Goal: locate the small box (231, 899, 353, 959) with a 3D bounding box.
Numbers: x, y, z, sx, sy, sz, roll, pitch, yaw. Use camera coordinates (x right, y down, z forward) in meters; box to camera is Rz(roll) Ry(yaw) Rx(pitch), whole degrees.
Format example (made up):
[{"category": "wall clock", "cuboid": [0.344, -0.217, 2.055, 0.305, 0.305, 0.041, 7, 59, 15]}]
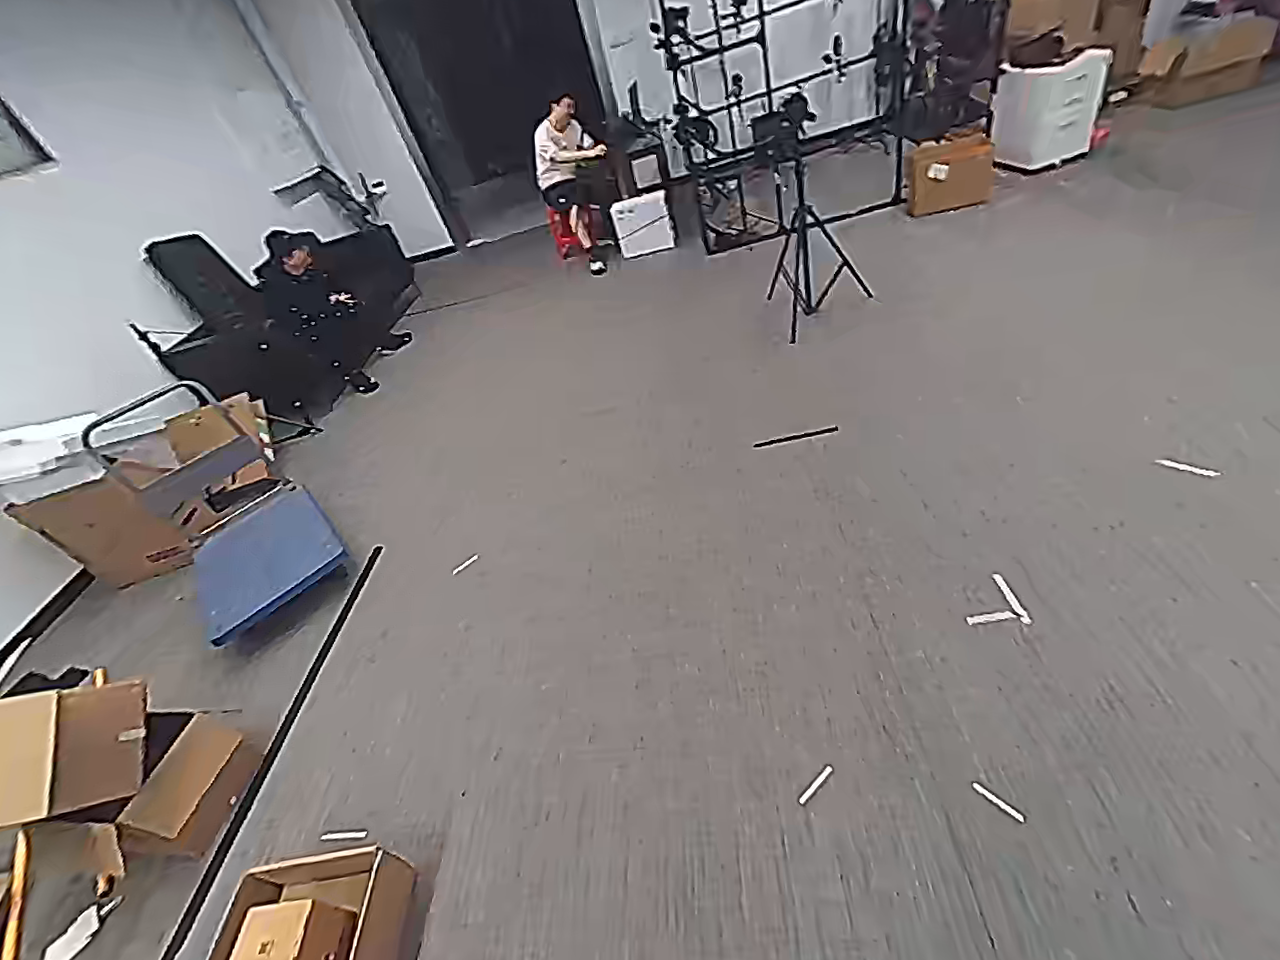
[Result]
[{"category": "small box", "cuboid": [-0.823, 1.114, 1.270, 0.179, 0.176, 0.168, -14, 40, 7]}]
